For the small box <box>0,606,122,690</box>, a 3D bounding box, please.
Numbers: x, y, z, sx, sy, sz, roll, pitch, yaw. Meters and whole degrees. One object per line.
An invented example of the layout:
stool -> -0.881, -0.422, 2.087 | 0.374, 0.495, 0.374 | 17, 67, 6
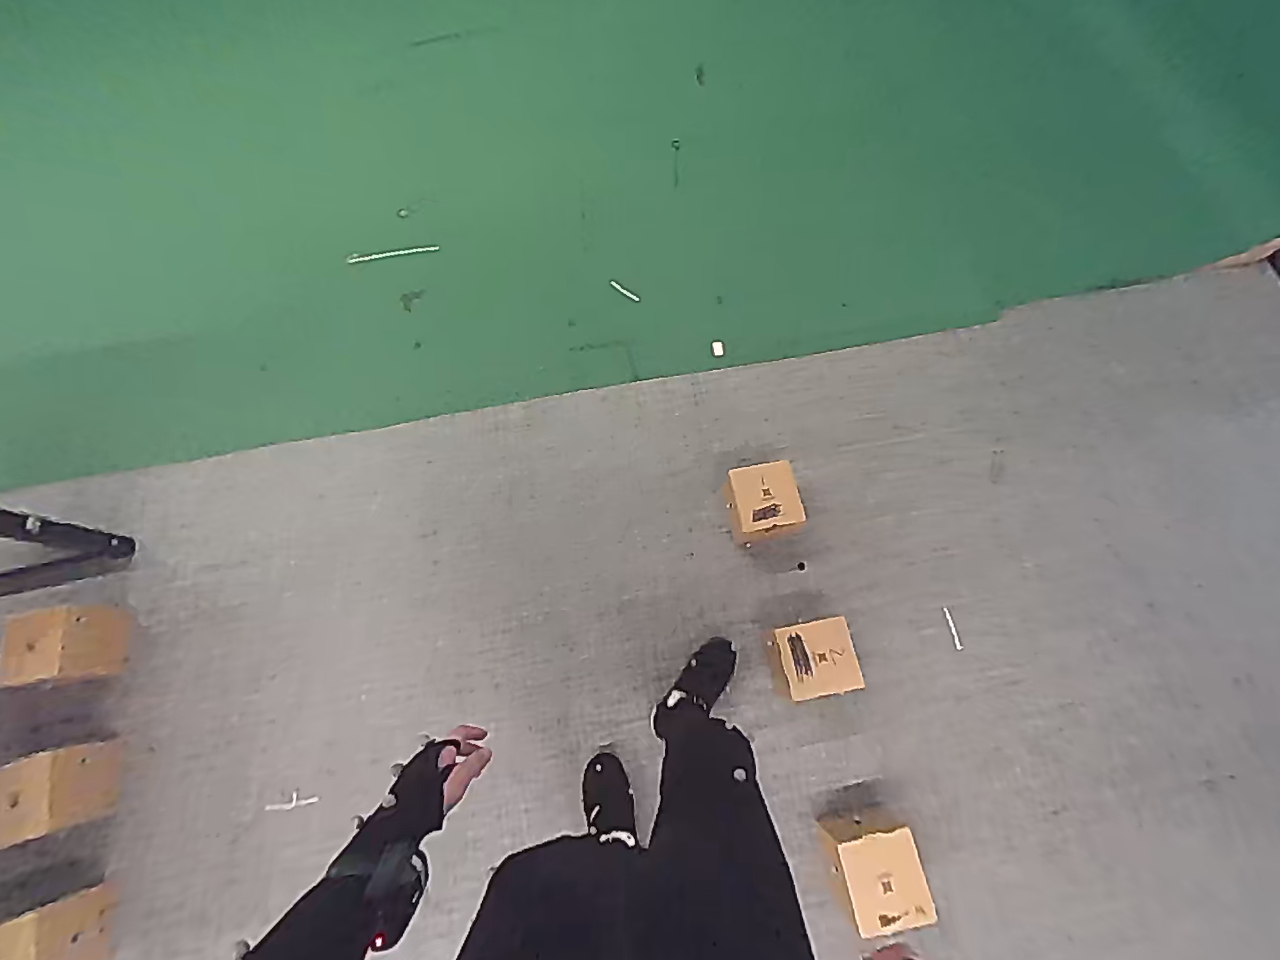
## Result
small box -> -1.489, 0.430, 1.386 | 0.168, 0.176, 0.179 | -11, 71, -2

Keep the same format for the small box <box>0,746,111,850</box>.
small box -> -1.406, 0.747, 1.276 | 0.168, 0.176, 0.179 | -18, 72, -3

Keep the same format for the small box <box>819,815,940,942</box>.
small box -> 0.512, 0.859, 1.187 | 0.168, 0.176, 0.179 | -10, 71, -2

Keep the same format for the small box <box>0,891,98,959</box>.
small box -> -1.337, 1.040, 1.174 | 0.179, 0.176, 0.168 | -19, 72, -5

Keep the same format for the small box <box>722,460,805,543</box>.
small box -> 0.326, 0.067, 1.460 | 0.168, 0.176, 0.179 | -10, 70, -2
